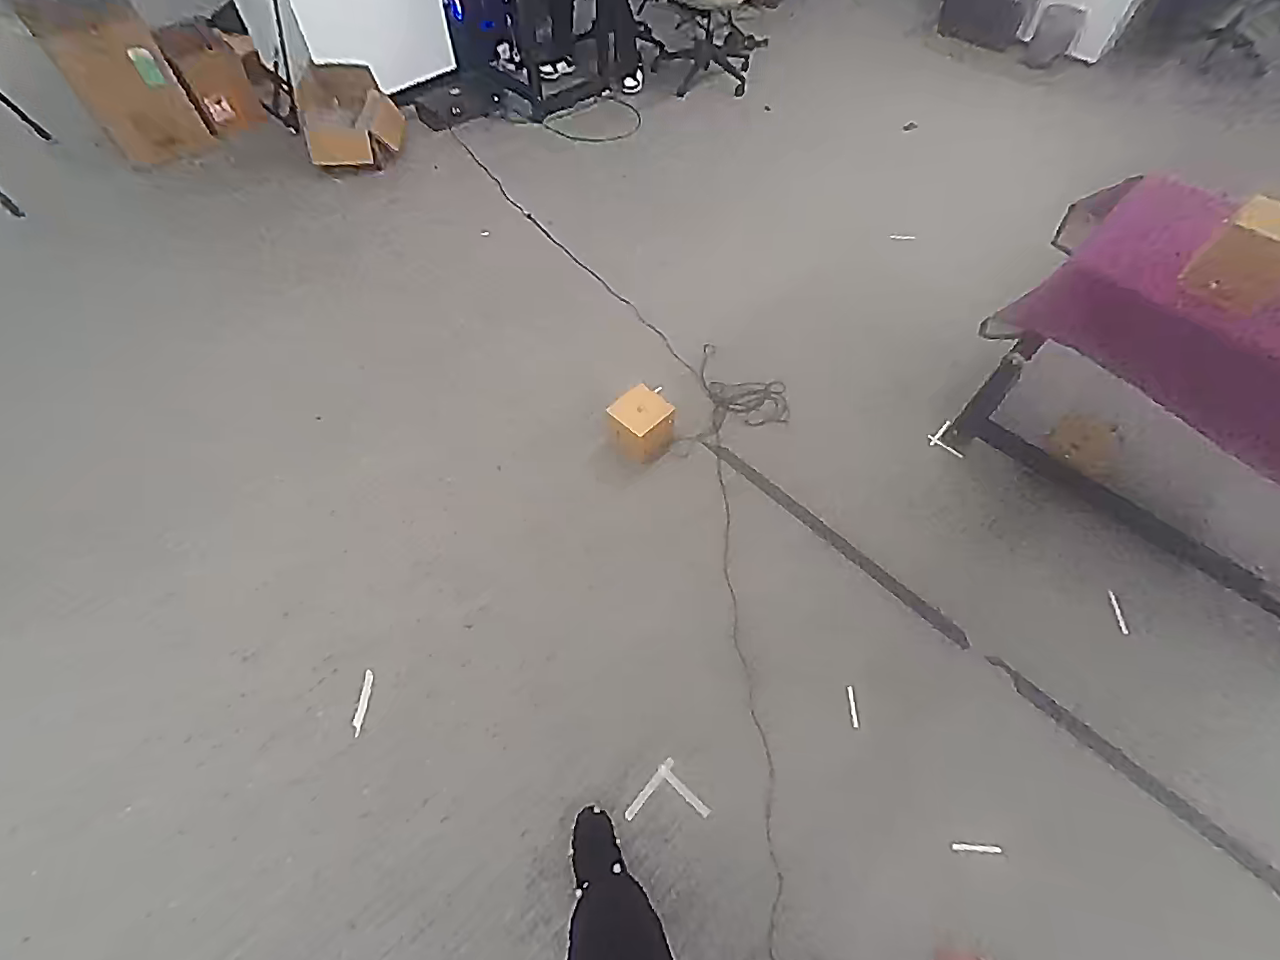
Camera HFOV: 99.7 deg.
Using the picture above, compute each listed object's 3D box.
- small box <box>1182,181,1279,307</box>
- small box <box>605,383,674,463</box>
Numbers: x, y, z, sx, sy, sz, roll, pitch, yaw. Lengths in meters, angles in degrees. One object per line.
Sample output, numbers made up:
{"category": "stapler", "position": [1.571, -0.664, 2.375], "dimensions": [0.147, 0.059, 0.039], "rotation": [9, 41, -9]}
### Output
{"category": "small box", "position": [1.396, -0.529, 1.220], "dimensions": [0.168, 0.176, 0.179], "rotation": [40, 66, 22]}
{"category": "small box", "position": [0.000, -0.190, 1.844], "dimensions": [0.168, 0.176, 0.179], "rotation": [38, 65, 21]}
